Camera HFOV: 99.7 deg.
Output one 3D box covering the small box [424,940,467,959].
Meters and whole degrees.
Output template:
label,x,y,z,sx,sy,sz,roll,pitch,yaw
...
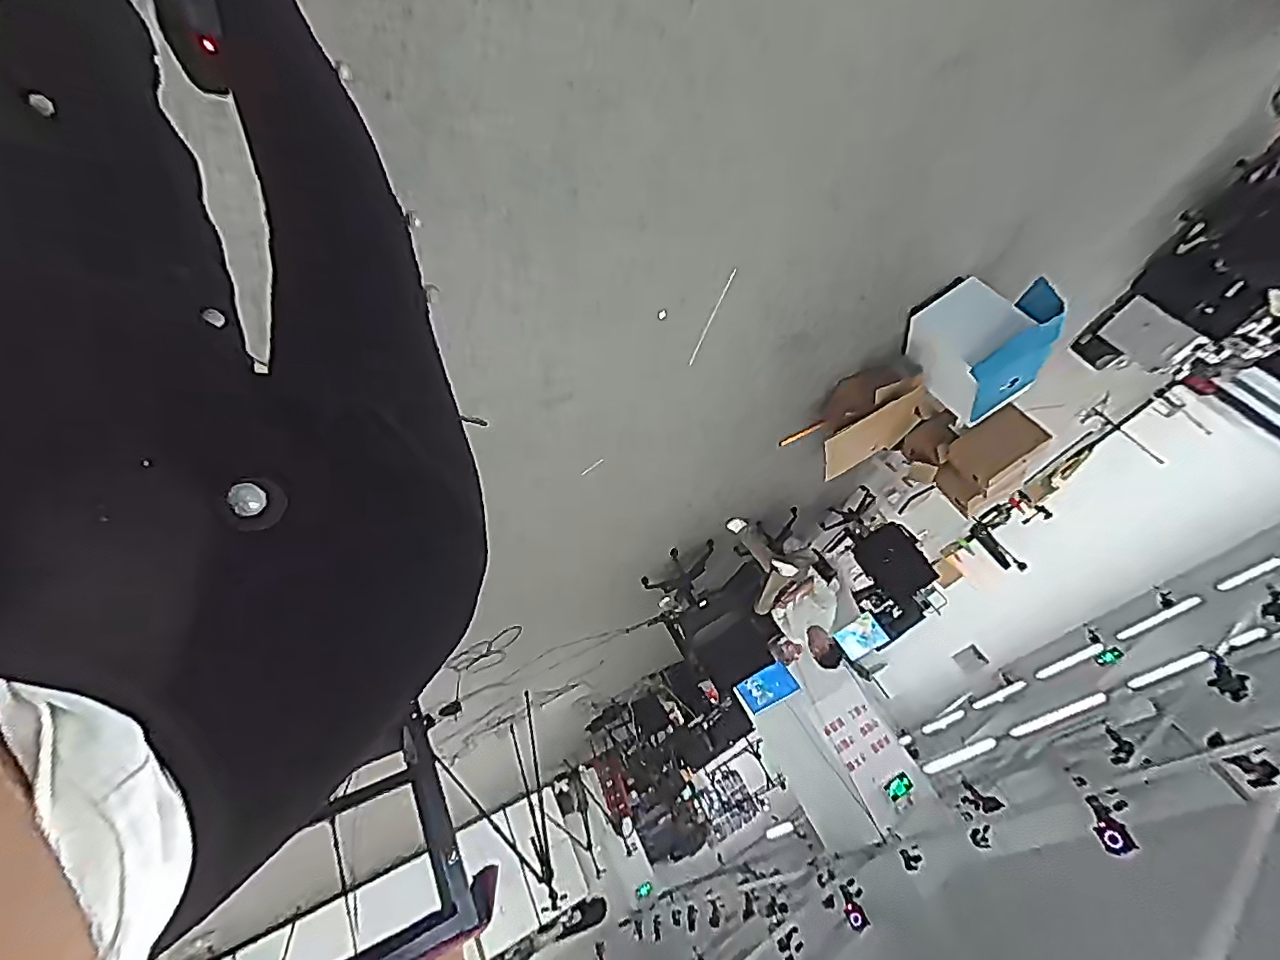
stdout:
label,x,y,z,sx,sy,sz,roll,pitch,yaw
small box,-0.587,1.474,1.561,0.179,0.176,0.168,-10,146,-32
